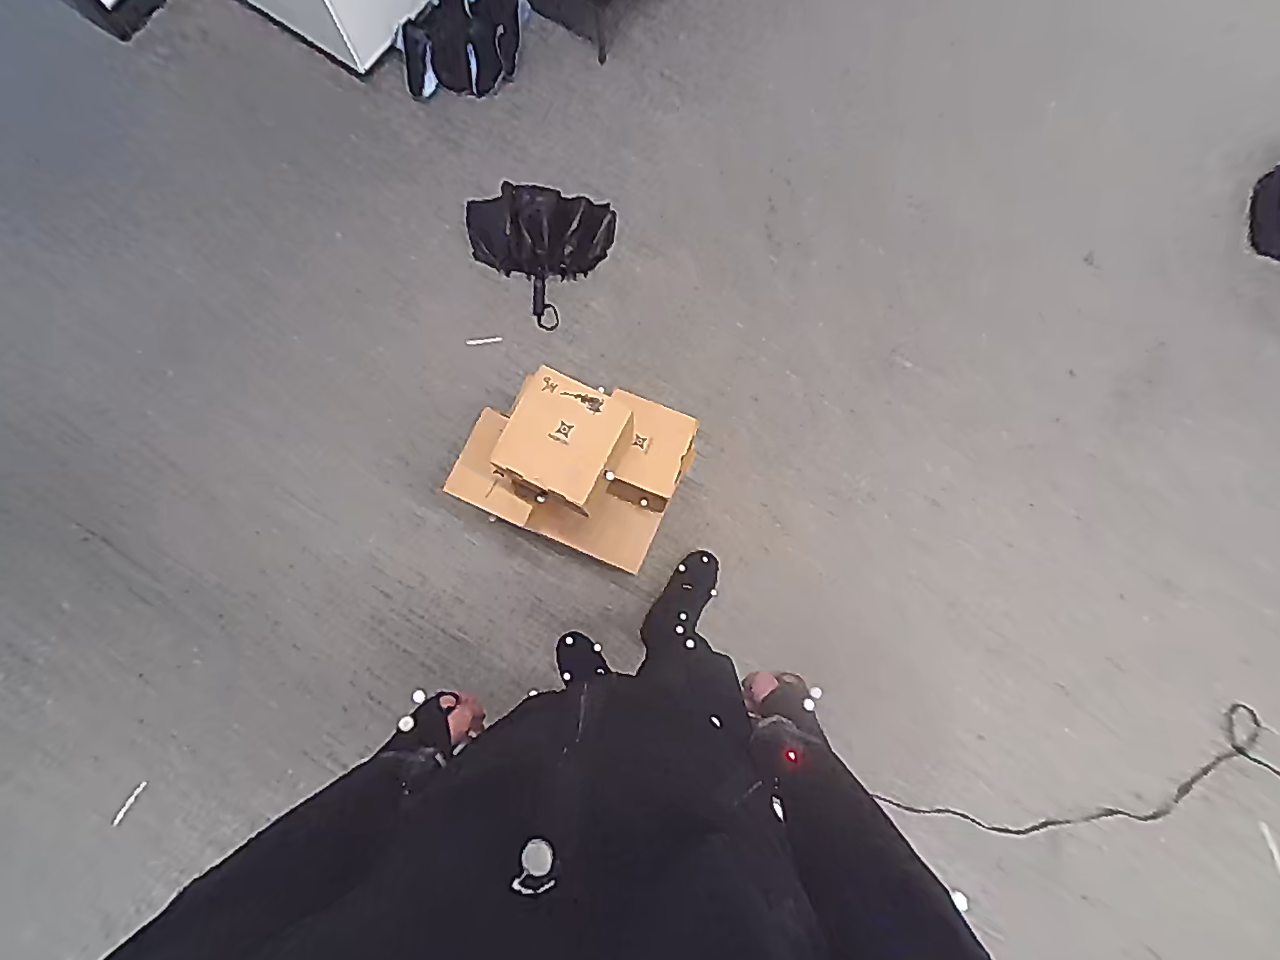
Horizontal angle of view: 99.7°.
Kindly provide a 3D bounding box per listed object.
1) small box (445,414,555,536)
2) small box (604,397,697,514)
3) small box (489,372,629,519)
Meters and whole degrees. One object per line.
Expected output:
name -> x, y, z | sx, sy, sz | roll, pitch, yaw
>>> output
small box -> -0.249, -0.001, 1.069 | 0.168, 0.176, 0.179 | 25, 82, 3
small box -> -0.002, -0.039, 1.084 | 0.179, 0.176, 0.168 | 20, 76, 4
small box -> -0.123, -0.046, 0.912 | 0.168, 0.176, 0.179 | 26, 81, 4
